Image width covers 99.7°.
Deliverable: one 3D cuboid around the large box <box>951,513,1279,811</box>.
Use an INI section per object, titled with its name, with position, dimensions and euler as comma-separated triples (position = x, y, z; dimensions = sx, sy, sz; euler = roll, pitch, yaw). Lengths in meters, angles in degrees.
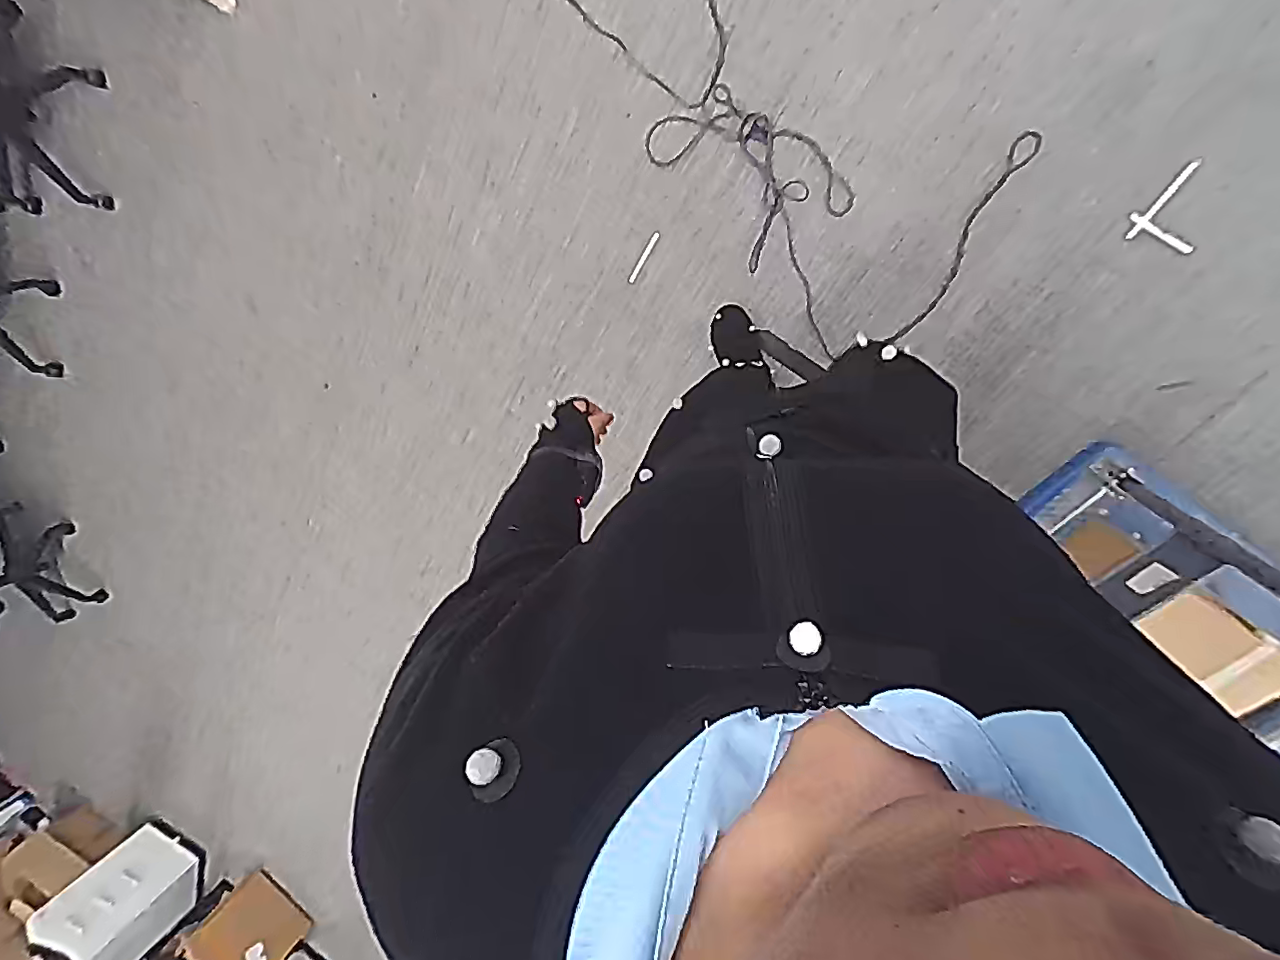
[large box]
position = 0.924, 0.345, 1.084
dimensions = 0.320, 0.320, 0.408
euler = 35, 116, 5
